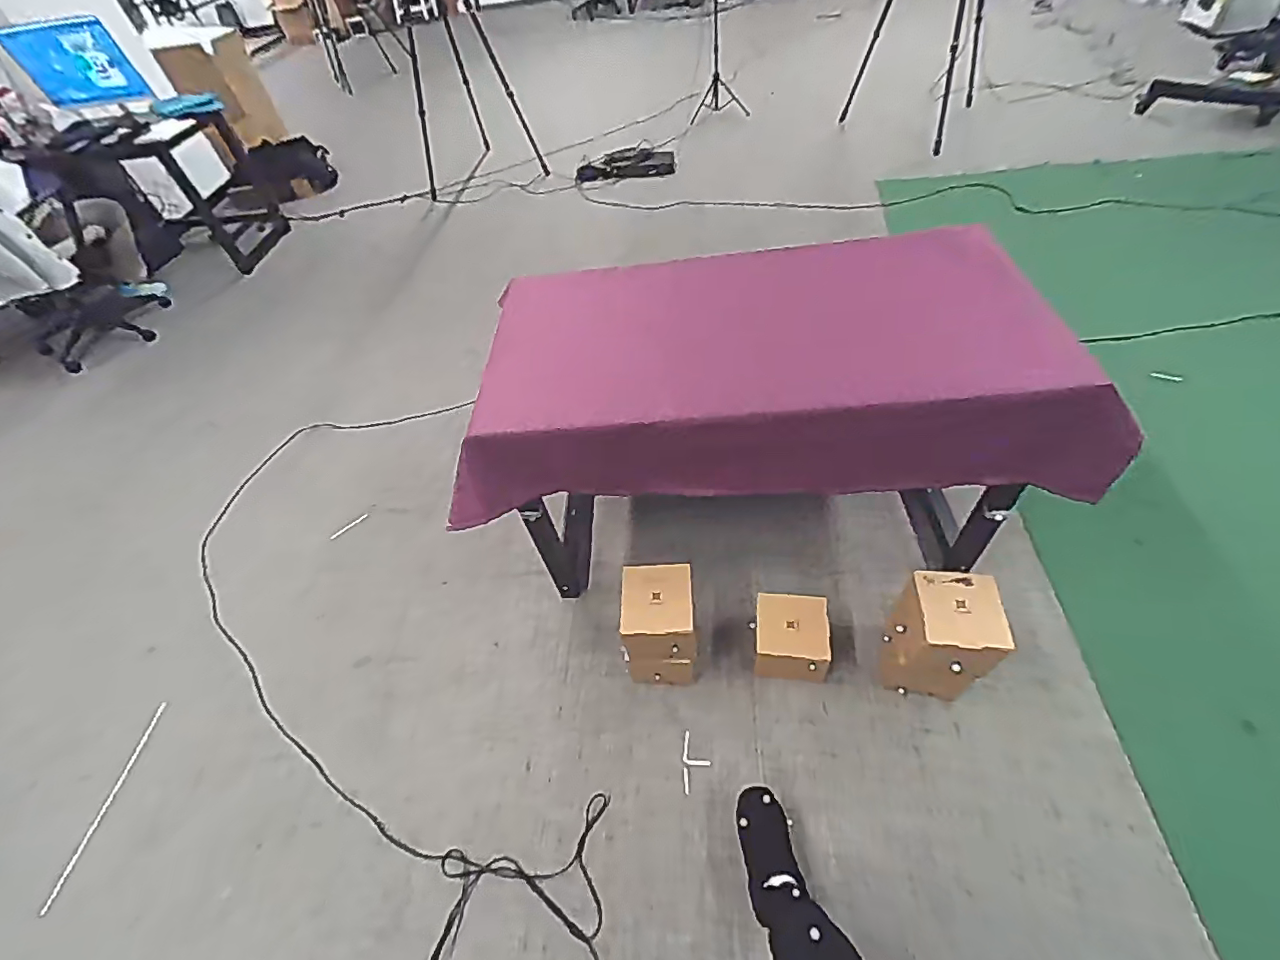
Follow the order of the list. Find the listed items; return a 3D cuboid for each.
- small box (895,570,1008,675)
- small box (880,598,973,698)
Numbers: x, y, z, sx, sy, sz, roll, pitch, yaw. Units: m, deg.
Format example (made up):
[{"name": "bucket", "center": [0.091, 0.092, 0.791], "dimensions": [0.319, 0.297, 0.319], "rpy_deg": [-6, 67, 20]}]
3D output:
[{"name": "small box", "center": [0.688, 0.324, 1.217], "dimensions": [0.168, 0.176, 0.179], "rpy_deg": [3, 53, 11]}, {"name": "small box", "center": [0.705, 0.422, 1.348], "dimensions": [0.168, 0.176, 0.179], "rpy_deg": [6, 51, 14]}]
